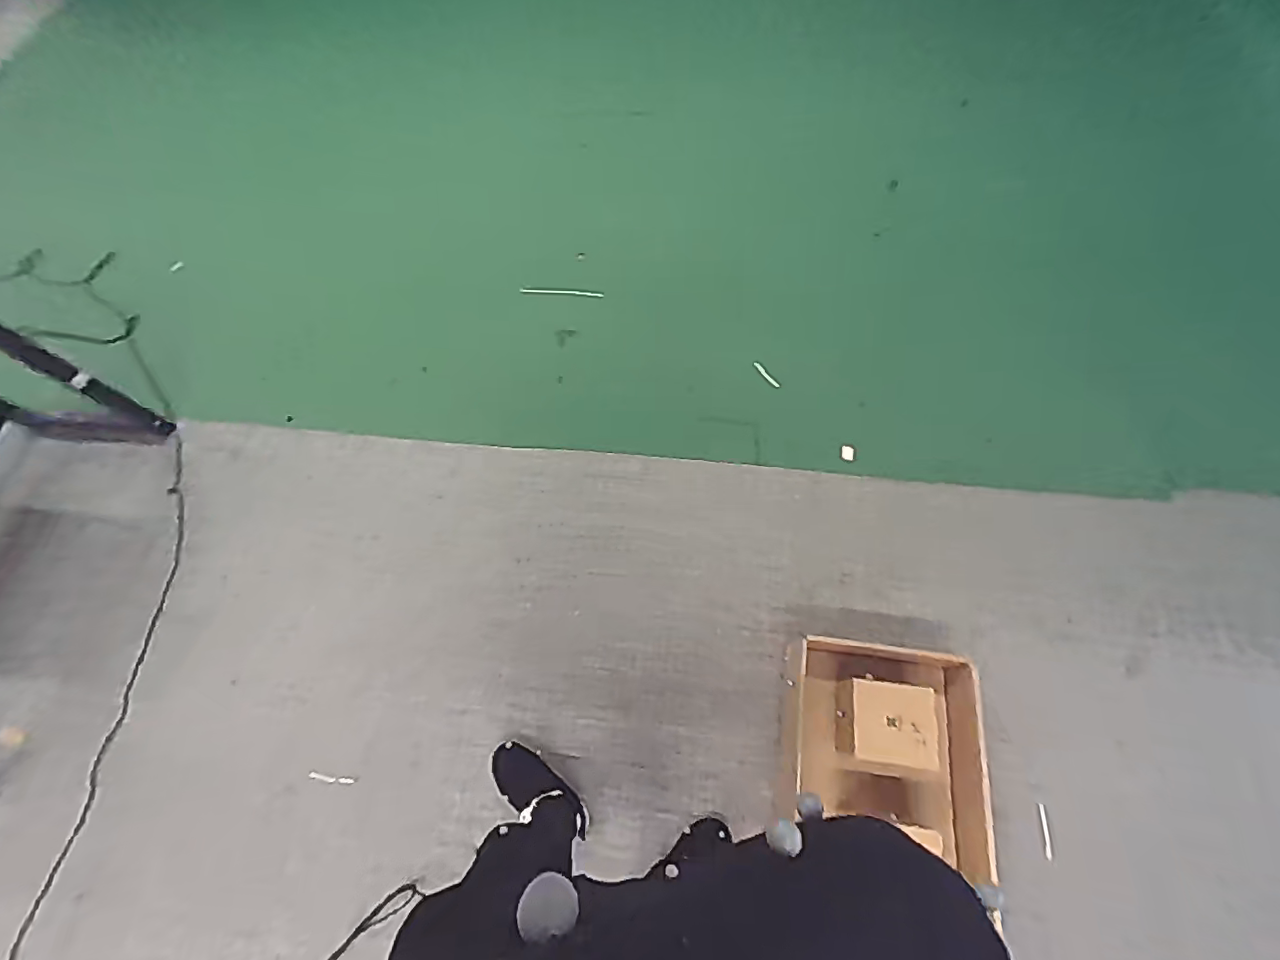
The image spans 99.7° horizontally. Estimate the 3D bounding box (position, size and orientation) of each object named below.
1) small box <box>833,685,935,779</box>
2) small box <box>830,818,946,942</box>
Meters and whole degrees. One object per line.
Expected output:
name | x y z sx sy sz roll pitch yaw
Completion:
small box | 0.552 0.576 1.245 0.179 0.176 0.168 7 68 6
small box | 0.511 0.826 1.135 0.179 0.176 0.168 6 65 7
